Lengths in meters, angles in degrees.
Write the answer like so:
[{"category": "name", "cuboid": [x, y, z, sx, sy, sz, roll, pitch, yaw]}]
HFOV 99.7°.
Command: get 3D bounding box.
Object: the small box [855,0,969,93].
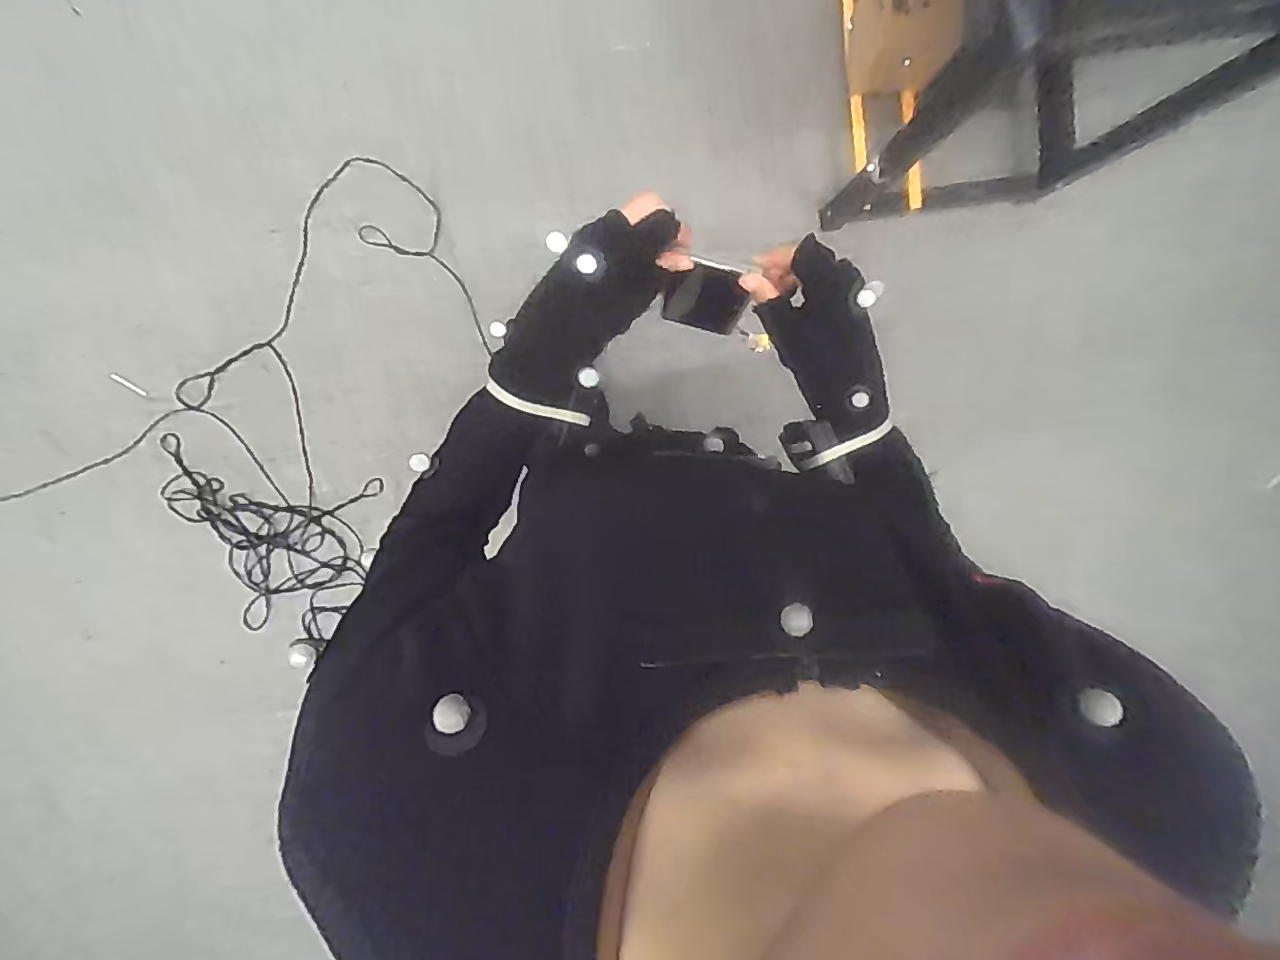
[{"category": "small box", "cuboid": [0.582, -0.980, 1.180, 0.179, 0.176, 0.168, -4, 97, -1]}]
